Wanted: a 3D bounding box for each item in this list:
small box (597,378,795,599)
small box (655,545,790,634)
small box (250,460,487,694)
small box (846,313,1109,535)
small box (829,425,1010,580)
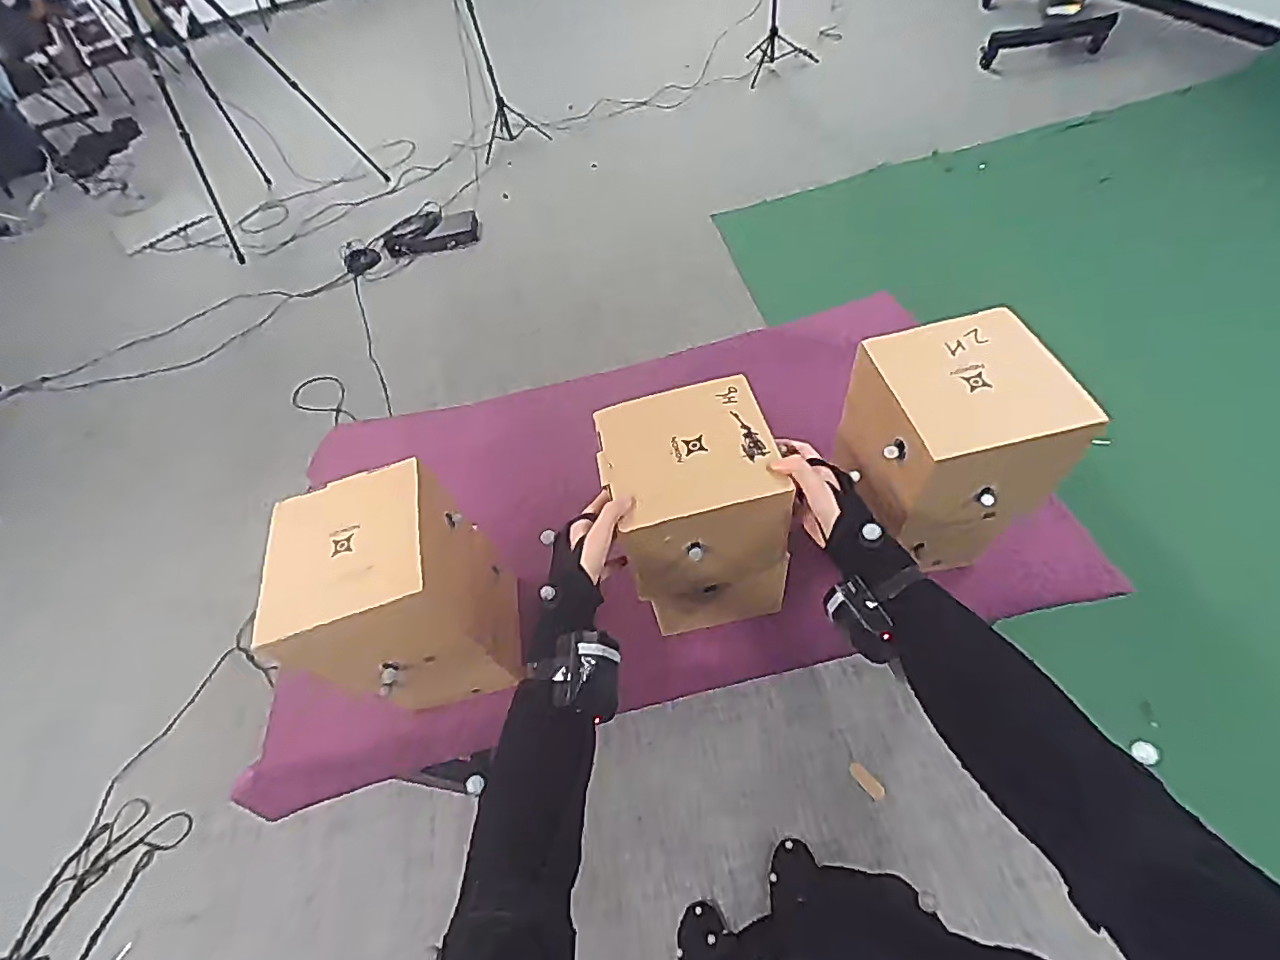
[{"bbox_3d":[0.062,0.017,0.614,0.179,0.176,0.168,-14,53,1],"label":"small box"},{"bbox_3d":[0.095,0.098,0.753,0.179,0.176,0.168,-12,53,1],"label":"small box"},{"bbox_3d":[-0.285,0.111,0.606,0.168,0.176,0.179,-18,53,-2],"label":"small box"},{"bbox_3d":[0.352,-0.053,0.610,0.168,0.176,0.179,-12,54,1],"label":"small box"},{"bbox_3d":[0.376,0.027,0.754,0.168,0.176,0.179,-10,54,4],"label":"small box"}]
